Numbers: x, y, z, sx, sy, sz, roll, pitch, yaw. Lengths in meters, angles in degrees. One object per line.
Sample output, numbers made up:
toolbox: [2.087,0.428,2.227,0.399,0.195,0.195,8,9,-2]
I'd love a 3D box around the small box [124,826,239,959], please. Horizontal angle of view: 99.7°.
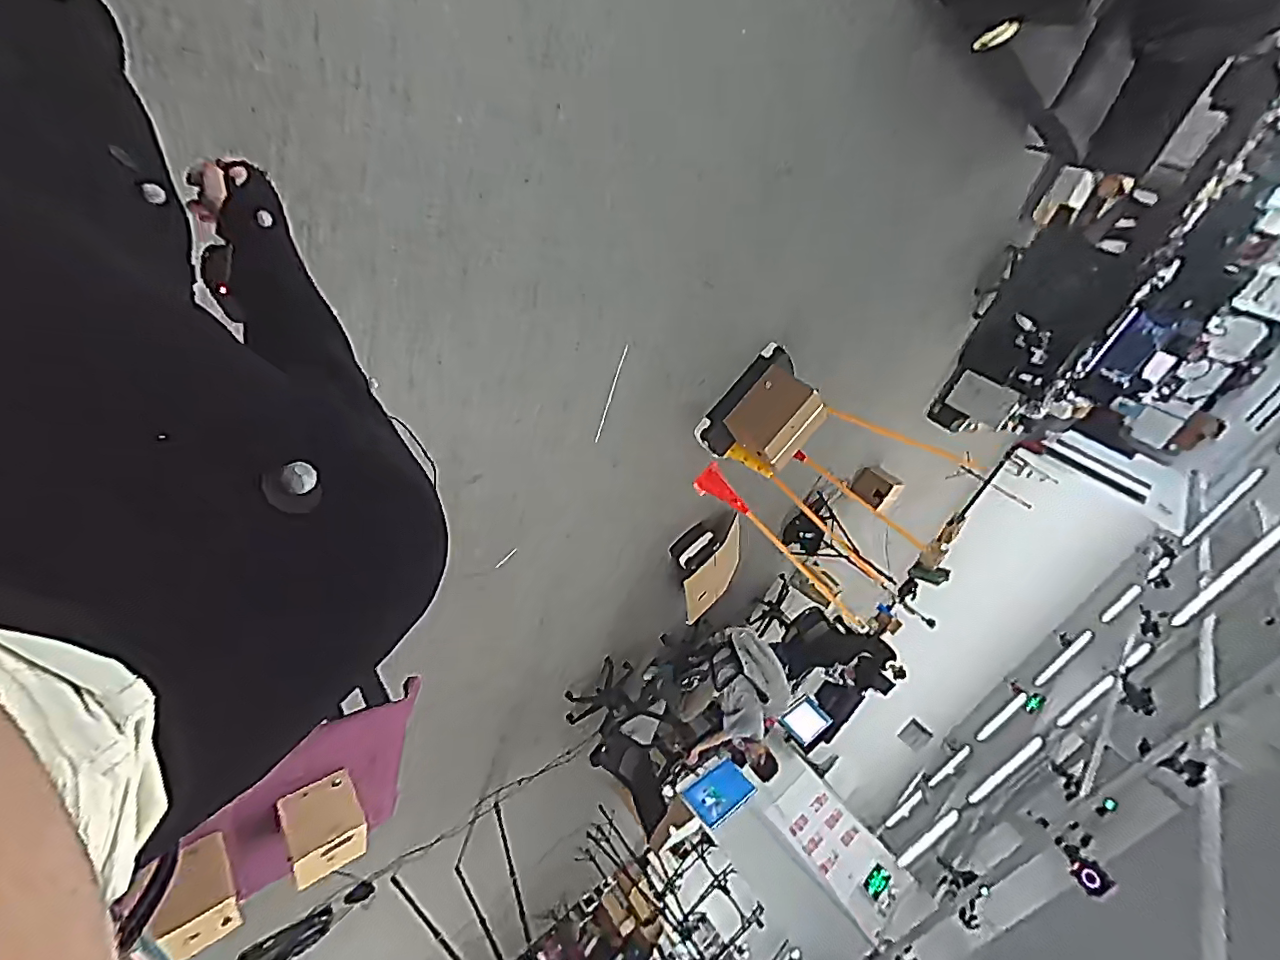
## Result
small box: [-1.047,0.948,1.236,0.179,0.176,0.168,-13,134,-41]

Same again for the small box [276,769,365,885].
small box: [-0.839,0.898,1.420,0.168,0.176,0.179,-13,135,-41]
